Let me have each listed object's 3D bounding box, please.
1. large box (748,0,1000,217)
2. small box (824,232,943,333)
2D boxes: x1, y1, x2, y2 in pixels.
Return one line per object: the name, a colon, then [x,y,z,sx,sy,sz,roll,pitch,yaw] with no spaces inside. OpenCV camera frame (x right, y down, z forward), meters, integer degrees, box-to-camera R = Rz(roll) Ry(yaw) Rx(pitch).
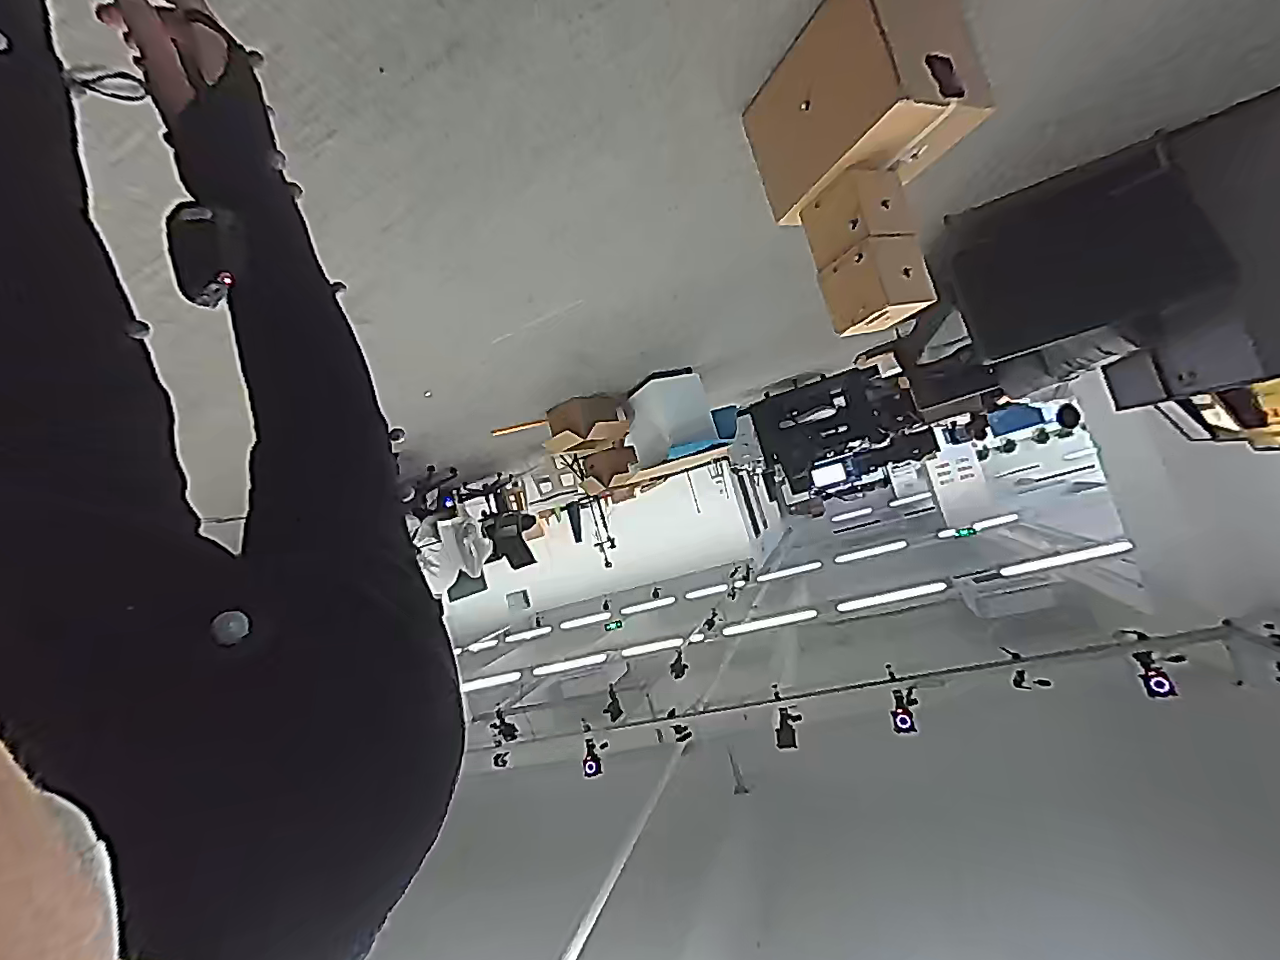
large box: [0.521,-0.889,1.282,0.320,0.320,0.408,-16,175,-24]
small box: [0.578,-0.475,1.302,0.179,0.176,0.168,-15,175,-26]
